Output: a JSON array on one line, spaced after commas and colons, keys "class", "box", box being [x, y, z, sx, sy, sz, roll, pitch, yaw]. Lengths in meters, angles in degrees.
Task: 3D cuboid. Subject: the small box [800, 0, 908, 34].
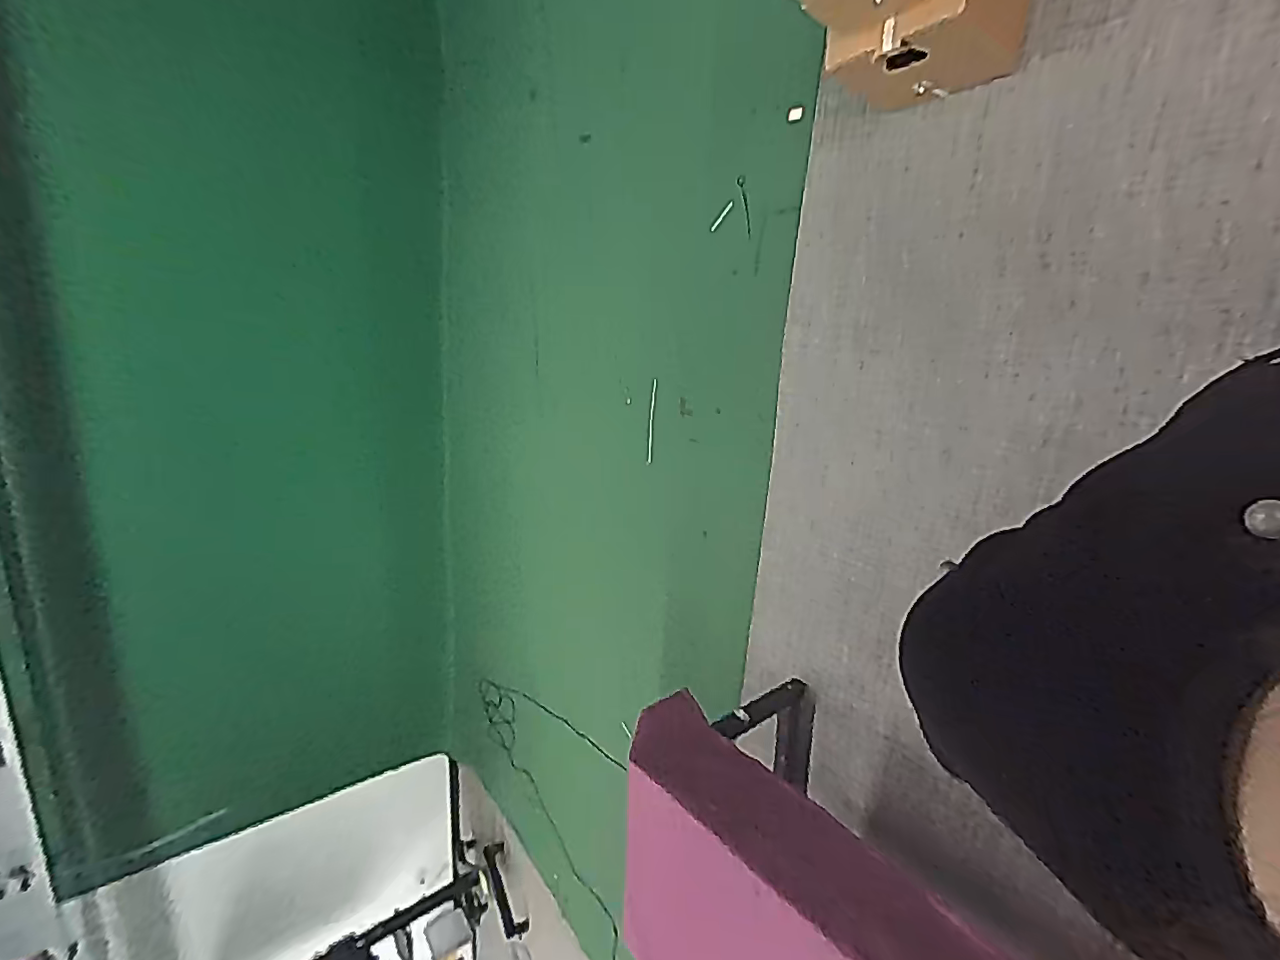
[{"class": "small box", "box": [0.454, -1.061, 1.096, 0.179, 0.176, 0.168, 16, 108, 50]}]

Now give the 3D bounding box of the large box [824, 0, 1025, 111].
[{"class": "large box", "box": [0.657, -1.149, 1.220, 0.320, 0.320, 0.408, 18, 108, 48]}]
